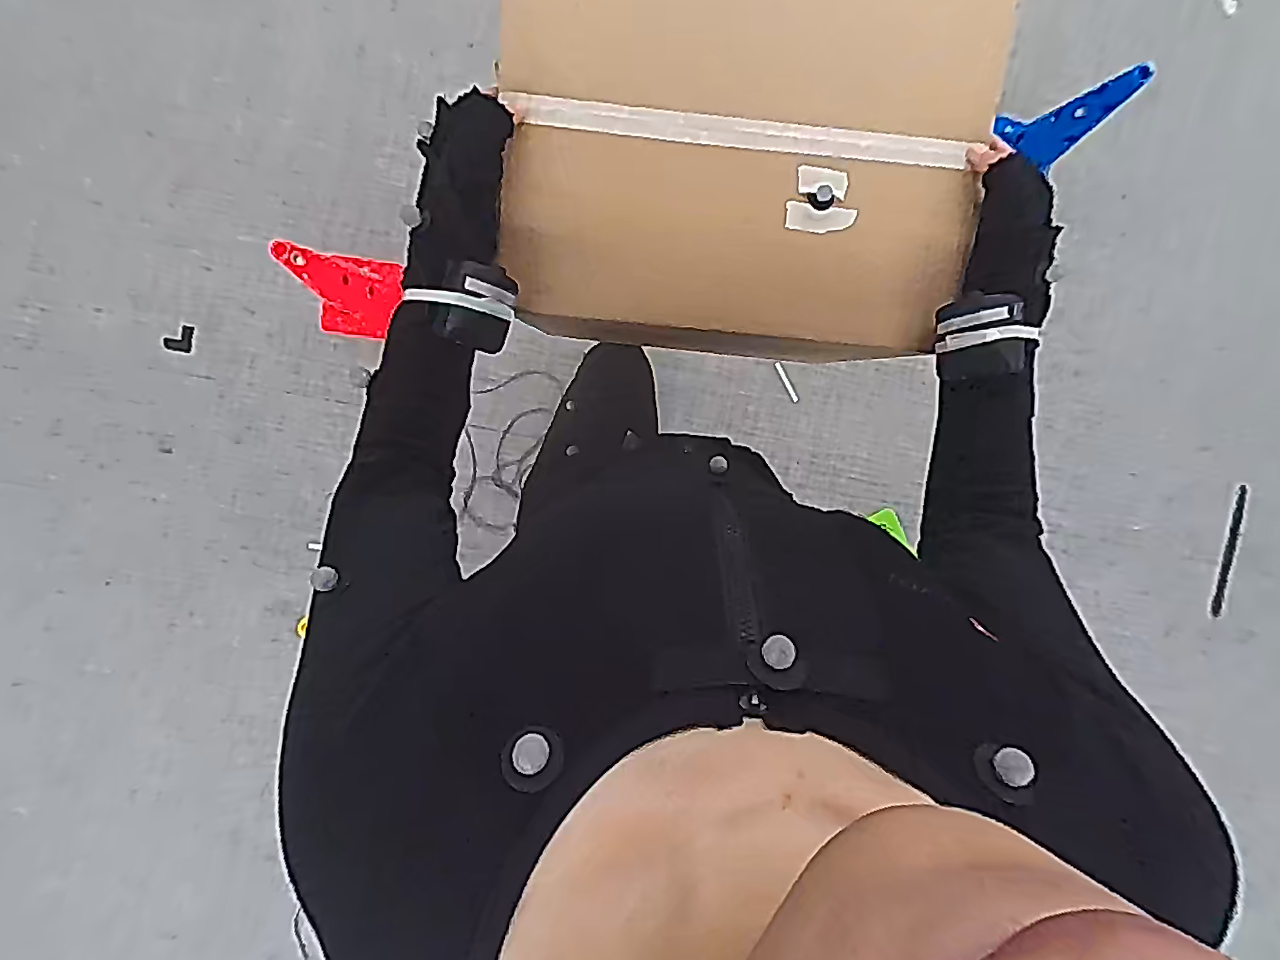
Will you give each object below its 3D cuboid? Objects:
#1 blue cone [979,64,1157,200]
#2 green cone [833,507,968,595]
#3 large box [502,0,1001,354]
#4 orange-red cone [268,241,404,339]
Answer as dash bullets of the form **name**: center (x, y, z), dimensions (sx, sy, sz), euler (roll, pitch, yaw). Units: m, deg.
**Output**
- **blue cone**: center (1.034, -0.860, 1.305), dimensions (0.192, 0.380, 0.193), euler (14, 93, -5)
- **green cone**: center (0.671, 0.211, 1.342), dimensions (0.202, 0.368, 0.200), euler (-27, 96, -3)
- **large box**: center (0.081, -0.318, 0.596), dimensions (0.408, 0.320, 0.320), euler (5, 101, -3)
- **orange-red cone**: center (-0.708, -0.459, 1.223), dimensions (0.198, 0.360, 0.199), euler (8, 95, -3)
